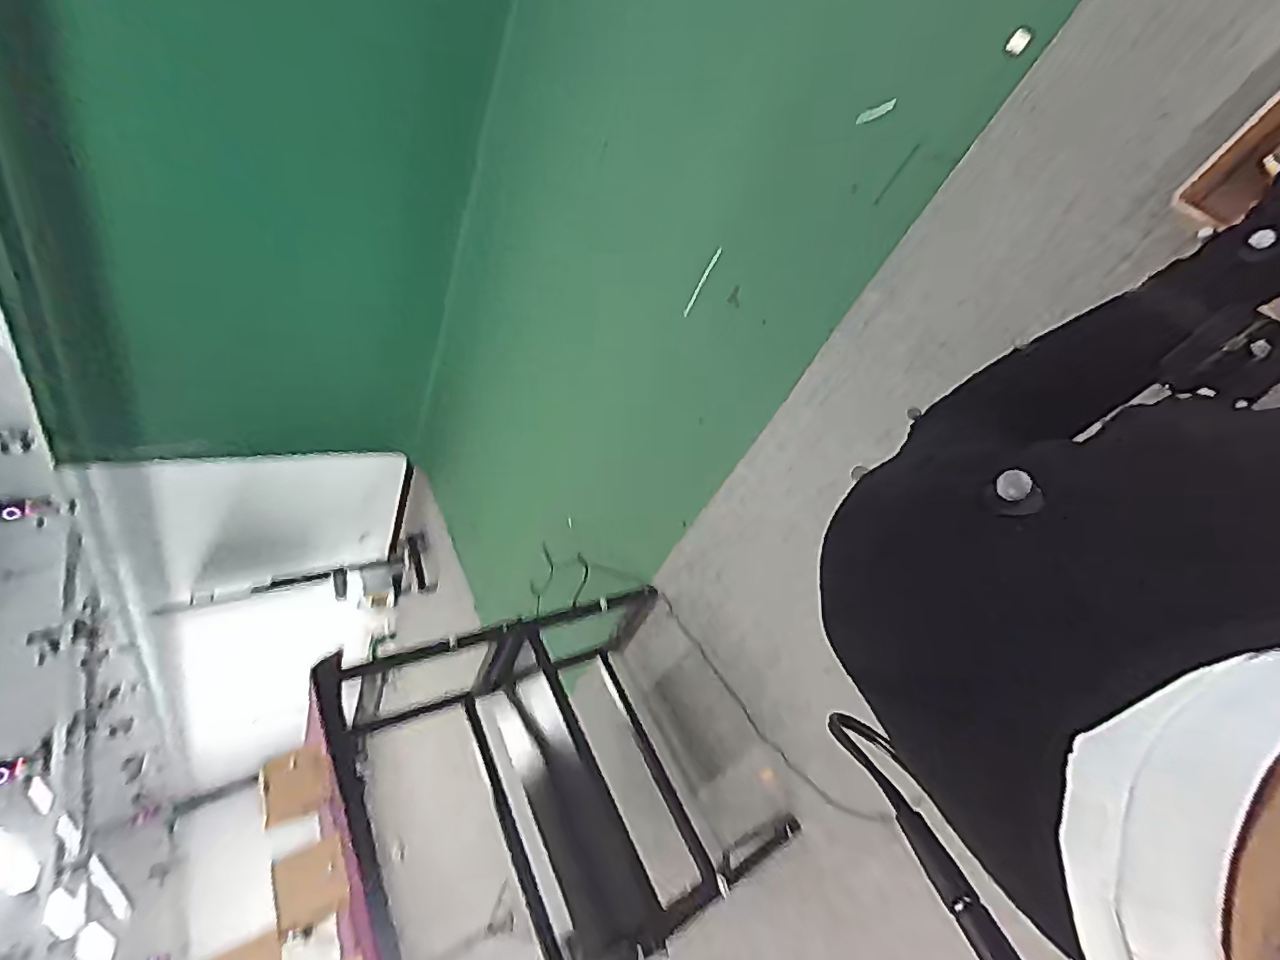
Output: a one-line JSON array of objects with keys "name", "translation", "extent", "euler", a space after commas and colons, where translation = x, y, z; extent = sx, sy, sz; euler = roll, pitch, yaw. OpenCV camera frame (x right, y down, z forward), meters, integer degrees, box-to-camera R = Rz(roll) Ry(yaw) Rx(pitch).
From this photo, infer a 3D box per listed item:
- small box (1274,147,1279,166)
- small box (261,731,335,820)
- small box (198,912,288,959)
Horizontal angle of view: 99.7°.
[{"name": "small box", "translation": [1.220, -0.542, 0.887], "extent": [0.179, 0.176, 0.168], "euler": [-44, 61, 43]}, {"name": "small box", "translation": [-1.045, 0.899, 1.653], "extent": [0.168, 0.176, 0.179], "euler": [60, 136, 28]}, {"name": "small box", "translation": [-0.972, 1.222, 1.337], "extent": [0.179, 0.176, 0.168], "euler": [59, 136, 30]}]
